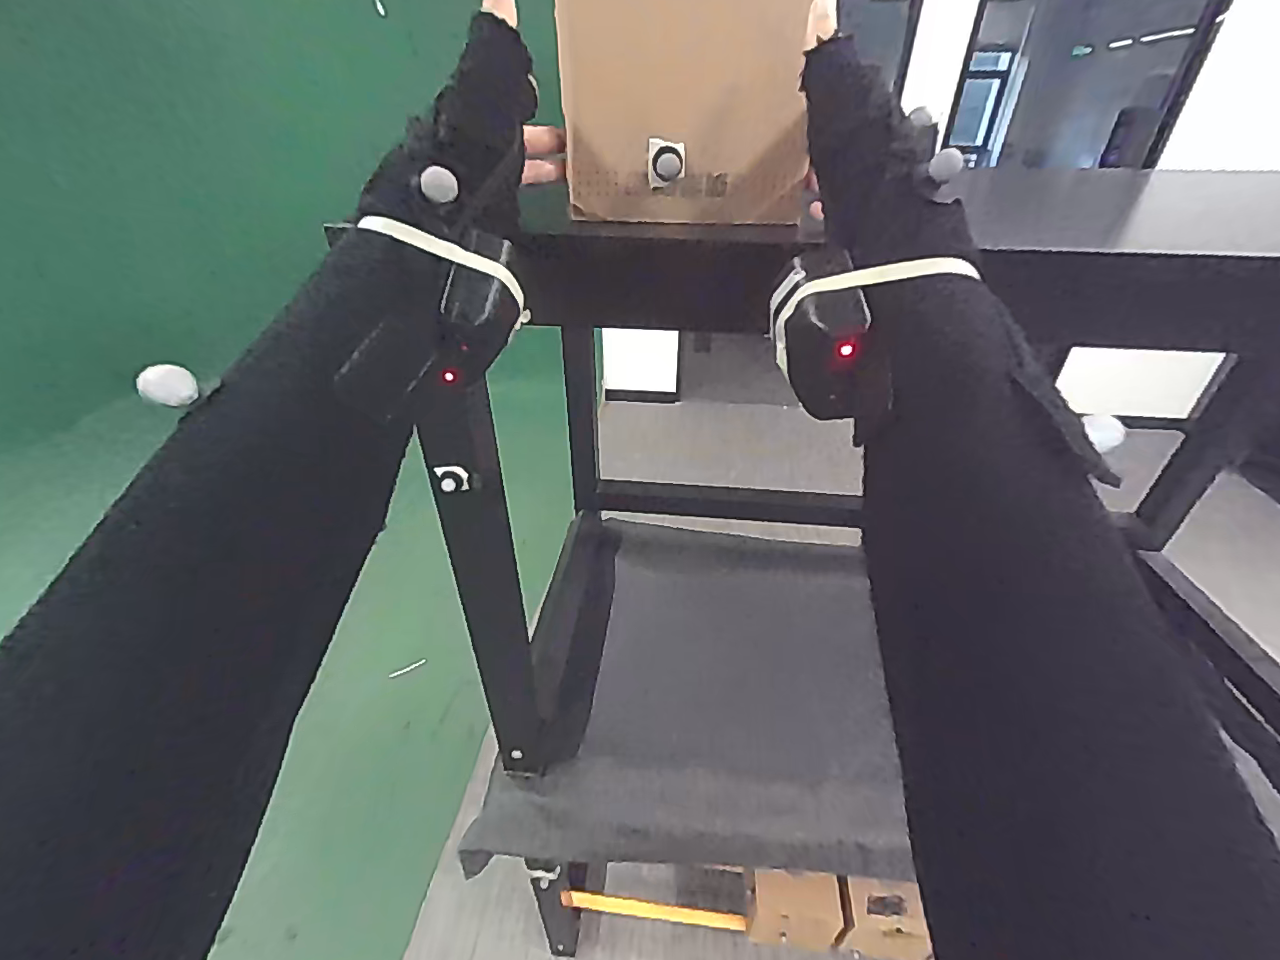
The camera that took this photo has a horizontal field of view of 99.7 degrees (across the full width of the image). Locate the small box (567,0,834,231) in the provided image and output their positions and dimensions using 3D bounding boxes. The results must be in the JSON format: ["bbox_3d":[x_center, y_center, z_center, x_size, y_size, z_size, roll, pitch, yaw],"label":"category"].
[{"bbox_3d":[0.037,-0.297,0.415,0.168,0.176,0.179,0,33,2],"label":"small box"}]
